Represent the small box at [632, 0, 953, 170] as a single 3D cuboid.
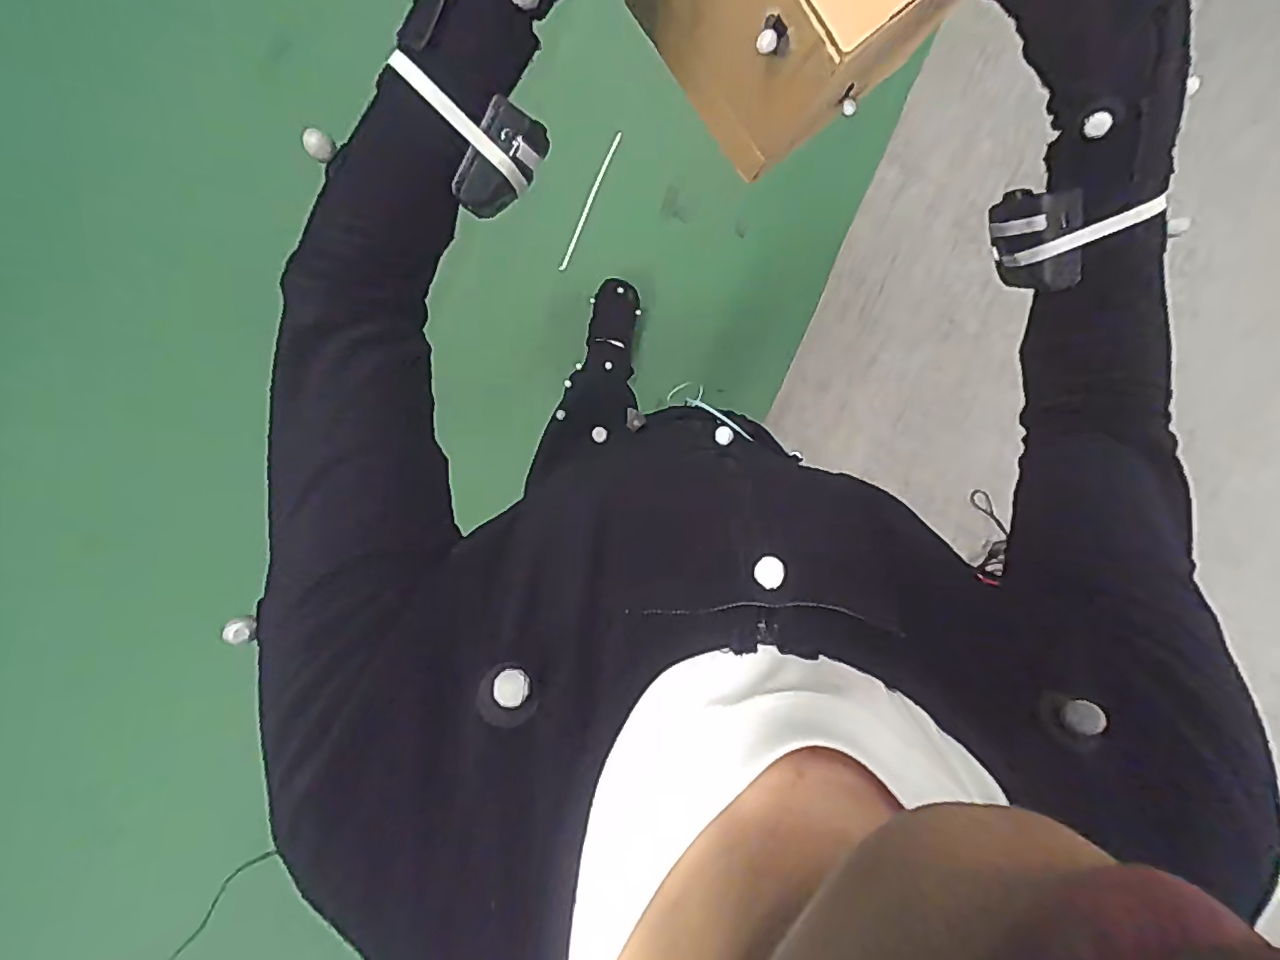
[{"bbox_3d":[0.108,-0.357,0.361,0.168,0.176,0.179,-38,101,-1],"label":"small box"}]
